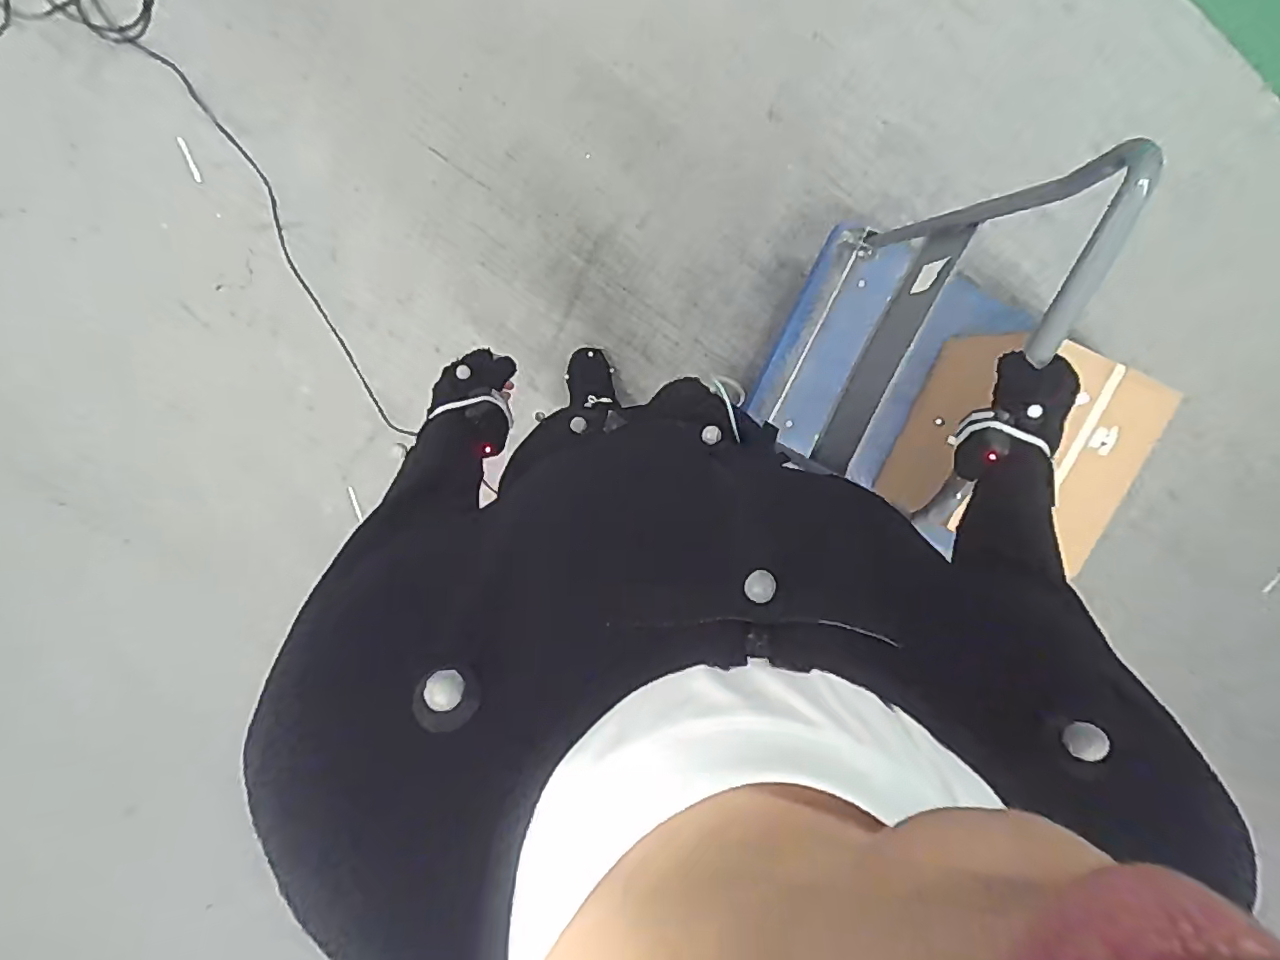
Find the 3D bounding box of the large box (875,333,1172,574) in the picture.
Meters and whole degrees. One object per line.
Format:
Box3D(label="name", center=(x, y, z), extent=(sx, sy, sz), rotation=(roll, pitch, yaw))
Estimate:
Box3D(label="large box", center=(0.794, -0.067, 1.185), extent=(0.320, 0.320, 0.408), rotation=(20, 100, -9))
